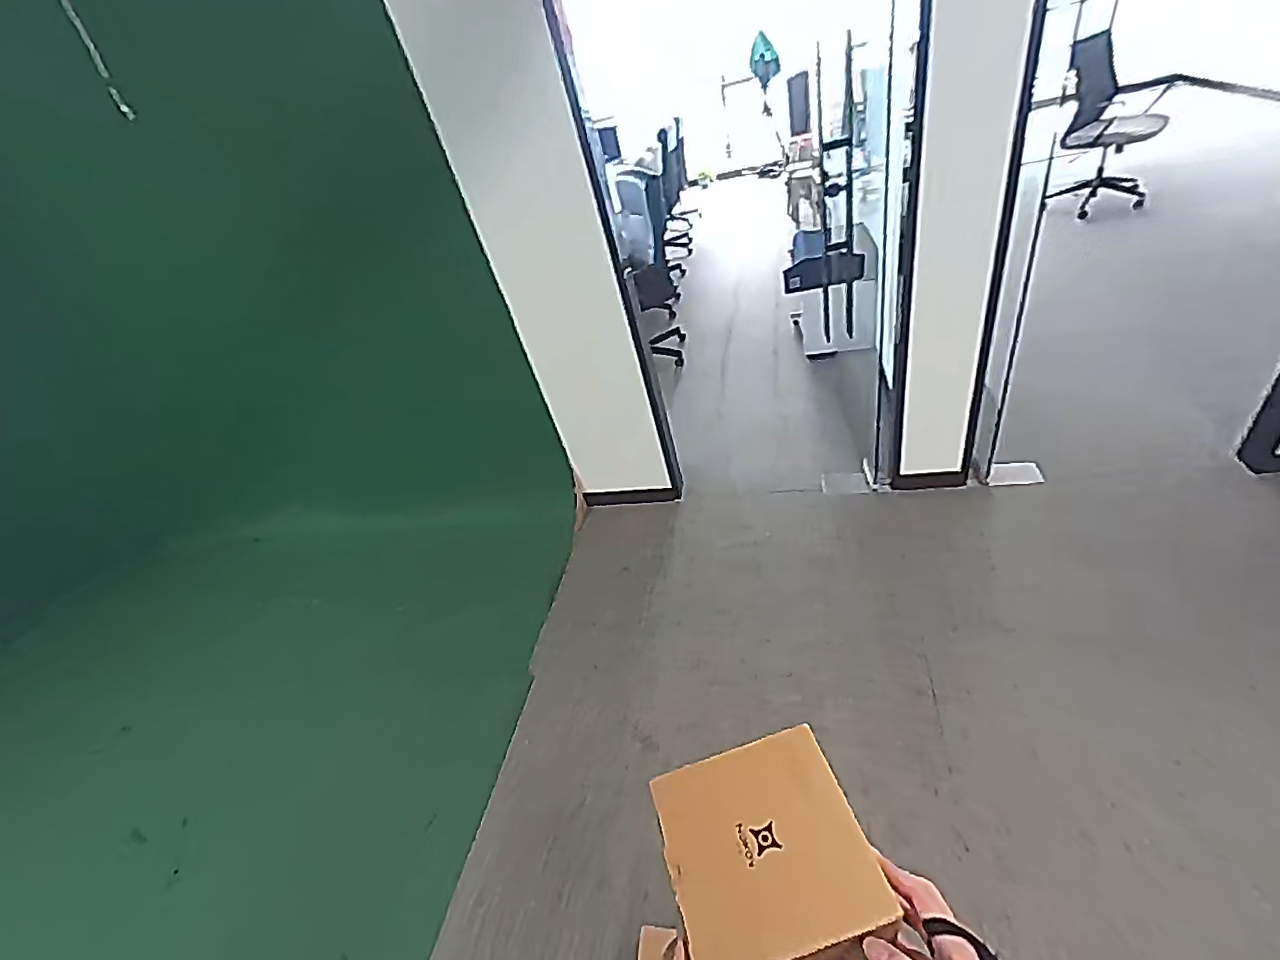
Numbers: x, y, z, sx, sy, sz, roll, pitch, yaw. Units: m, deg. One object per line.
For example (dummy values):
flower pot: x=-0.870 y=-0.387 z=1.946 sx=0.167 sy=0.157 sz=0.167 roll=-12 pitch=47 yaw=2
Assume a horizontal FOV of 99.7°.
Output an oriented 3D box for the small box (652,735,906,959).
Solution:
small box: x=0.129 y=0.391 z=0.533 sx=0.179 sy=0.176 sz=0.168 roll=-20 pitch=39 yaw=-1
